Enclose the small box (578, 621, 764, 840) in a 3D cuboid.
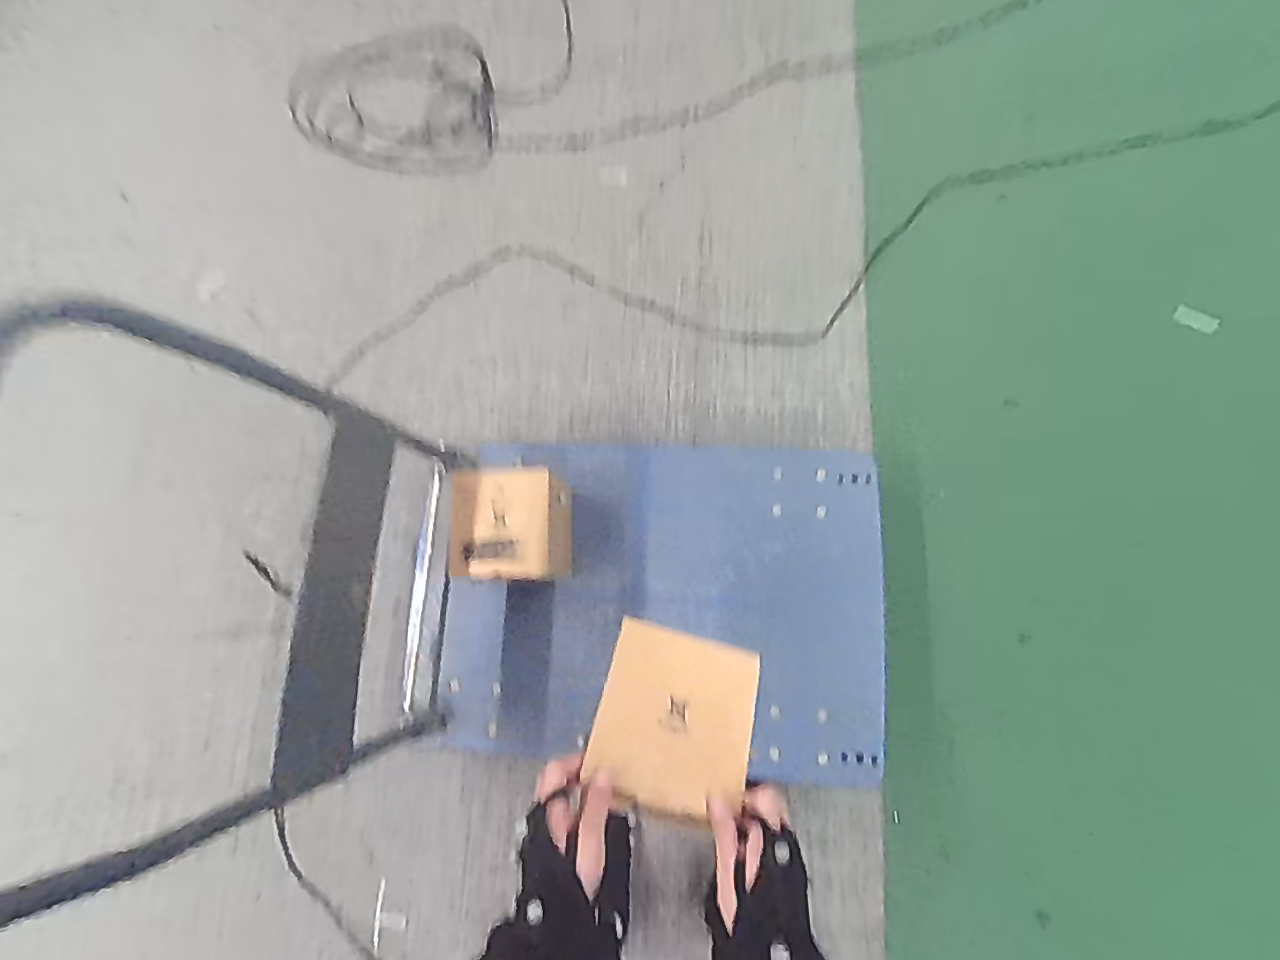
[{"bbox_3d":[0.030,0.295,0.630,0.168,0.176,0.179,17,56,2],"label":"small box"}]
